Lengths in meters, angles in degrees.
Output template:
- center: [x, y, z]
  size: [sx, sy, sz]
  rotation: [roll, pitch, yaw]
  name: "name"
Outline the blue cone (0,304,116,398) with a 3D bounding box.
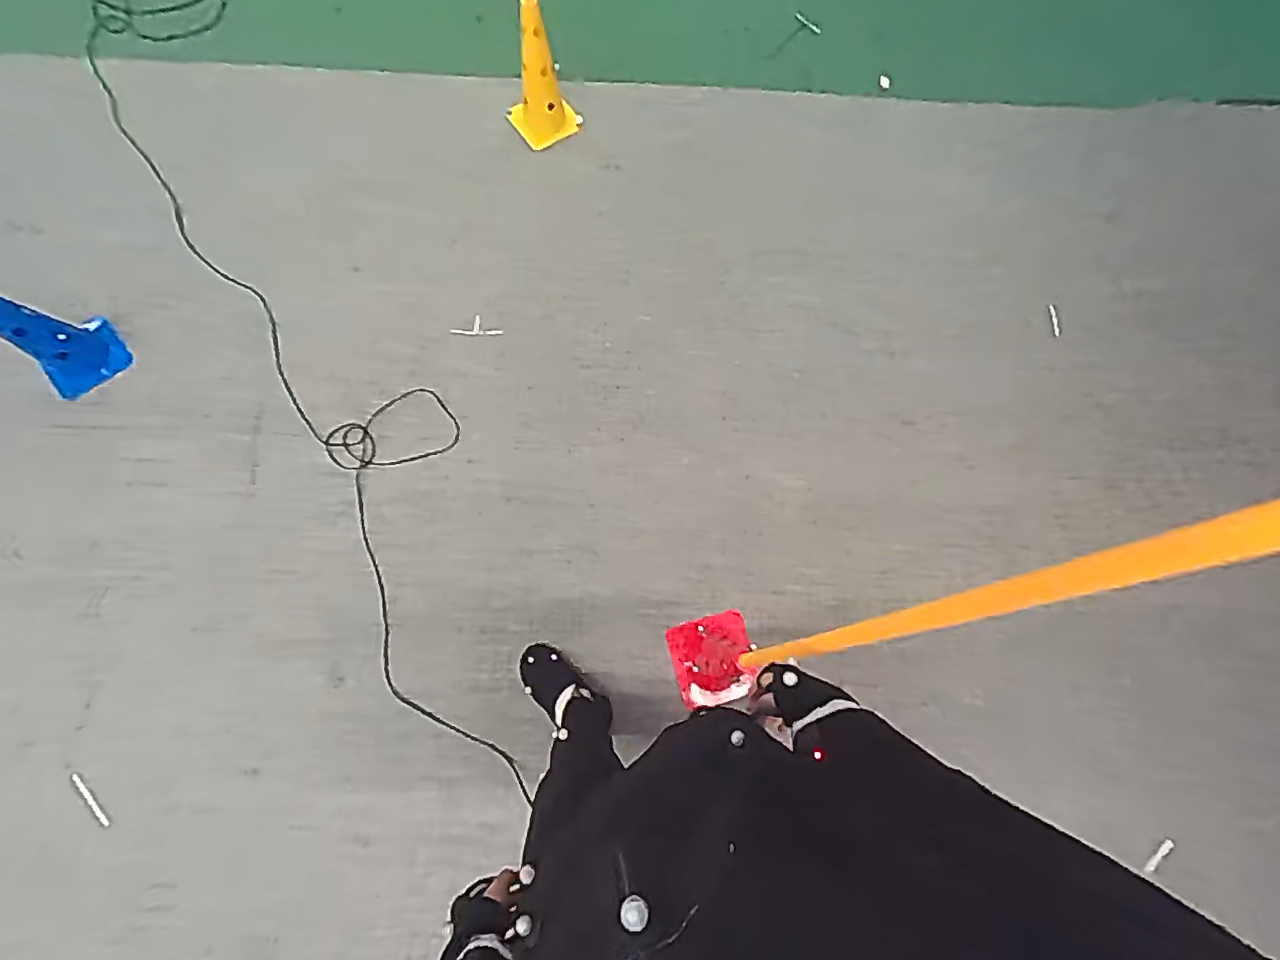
- center: [-1.535, -0.372, 1.306]
  size: [0.193, 0.380, 0.192]
  rotation: [-42, 80, -11]
  name: "blue cone"
